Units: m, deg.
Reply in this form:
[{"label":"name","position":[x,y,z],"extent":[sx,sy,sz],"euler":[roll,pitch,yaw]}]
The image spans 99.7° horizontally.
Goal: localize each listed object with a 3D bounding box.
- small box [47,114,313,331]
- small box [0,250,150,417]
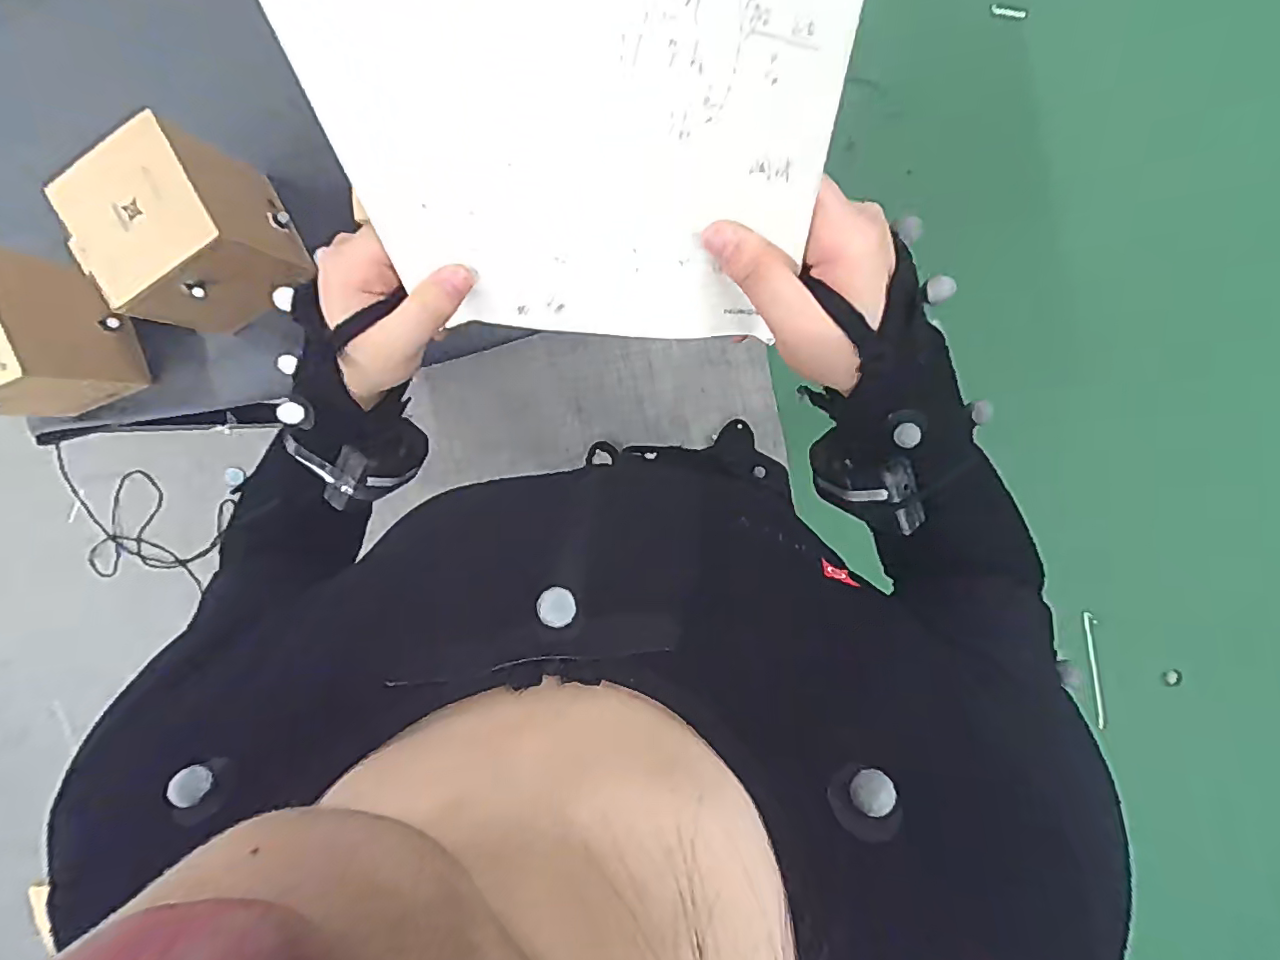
[{"label":"small box","position":[-0.588,-0.318,0.714],"extent":[0.179,0.176,0.168],"euler":[-29,92,8]},{"label":"small box","position":[-0.860,-0.193,0.760],"extent":[0.168,0.176,0.179],"euler":[-17,94,8]}]
